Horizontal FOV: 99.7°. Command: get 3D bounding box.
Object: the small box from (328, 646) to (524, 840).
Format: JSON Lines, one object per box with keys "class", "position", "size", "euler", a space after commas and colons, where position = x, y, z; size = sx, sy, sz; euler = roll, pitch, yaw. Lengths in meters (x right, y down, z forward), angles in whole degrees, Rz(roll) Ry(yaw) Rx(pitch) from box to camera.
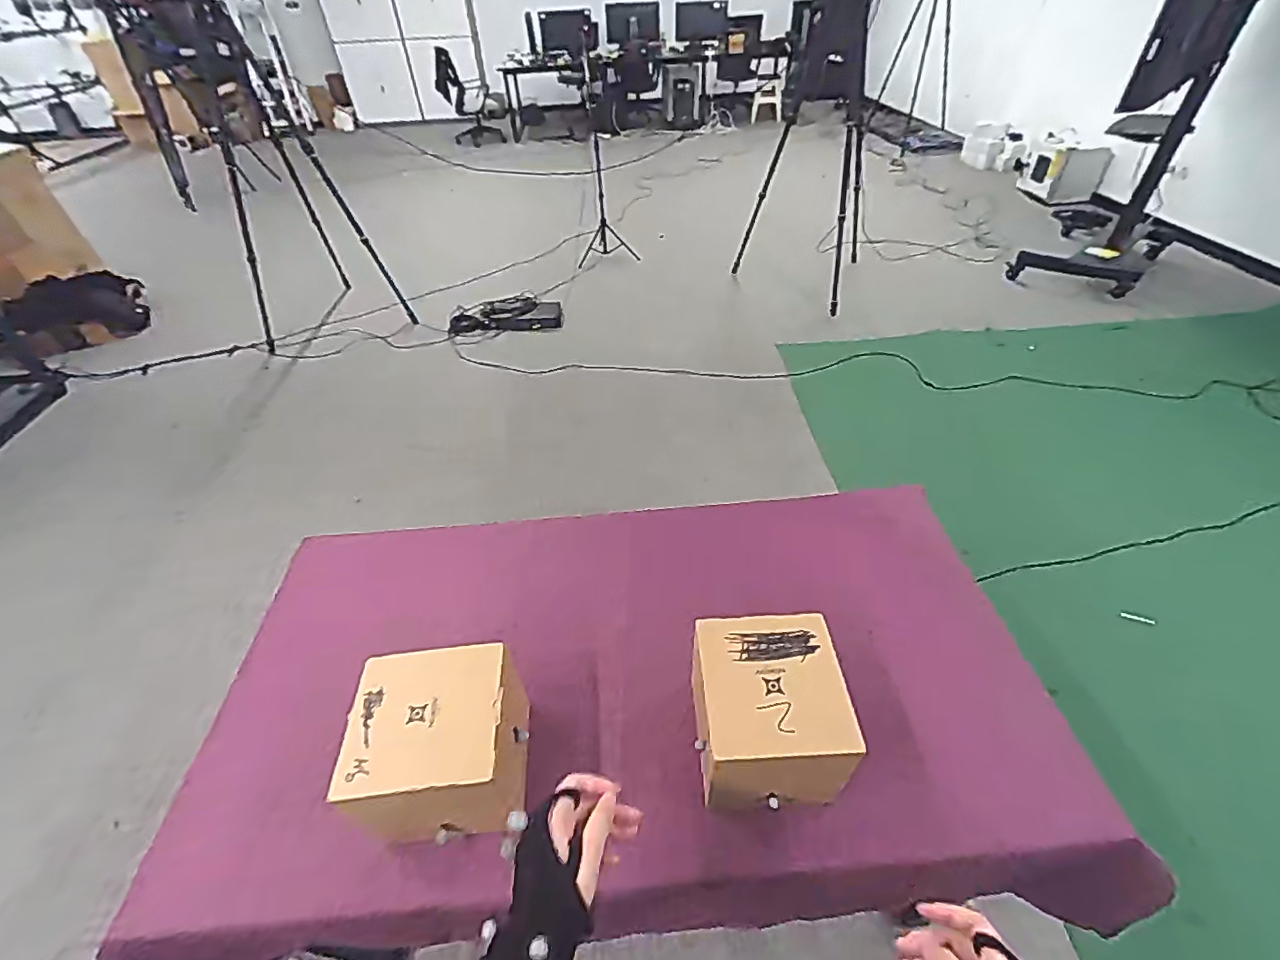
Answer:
{"class": "small box", "position": [-0.246, 0.331, 0.680], "size": [0.179, 0.176, 0.168], "euler": [-5, 43, -3]}
